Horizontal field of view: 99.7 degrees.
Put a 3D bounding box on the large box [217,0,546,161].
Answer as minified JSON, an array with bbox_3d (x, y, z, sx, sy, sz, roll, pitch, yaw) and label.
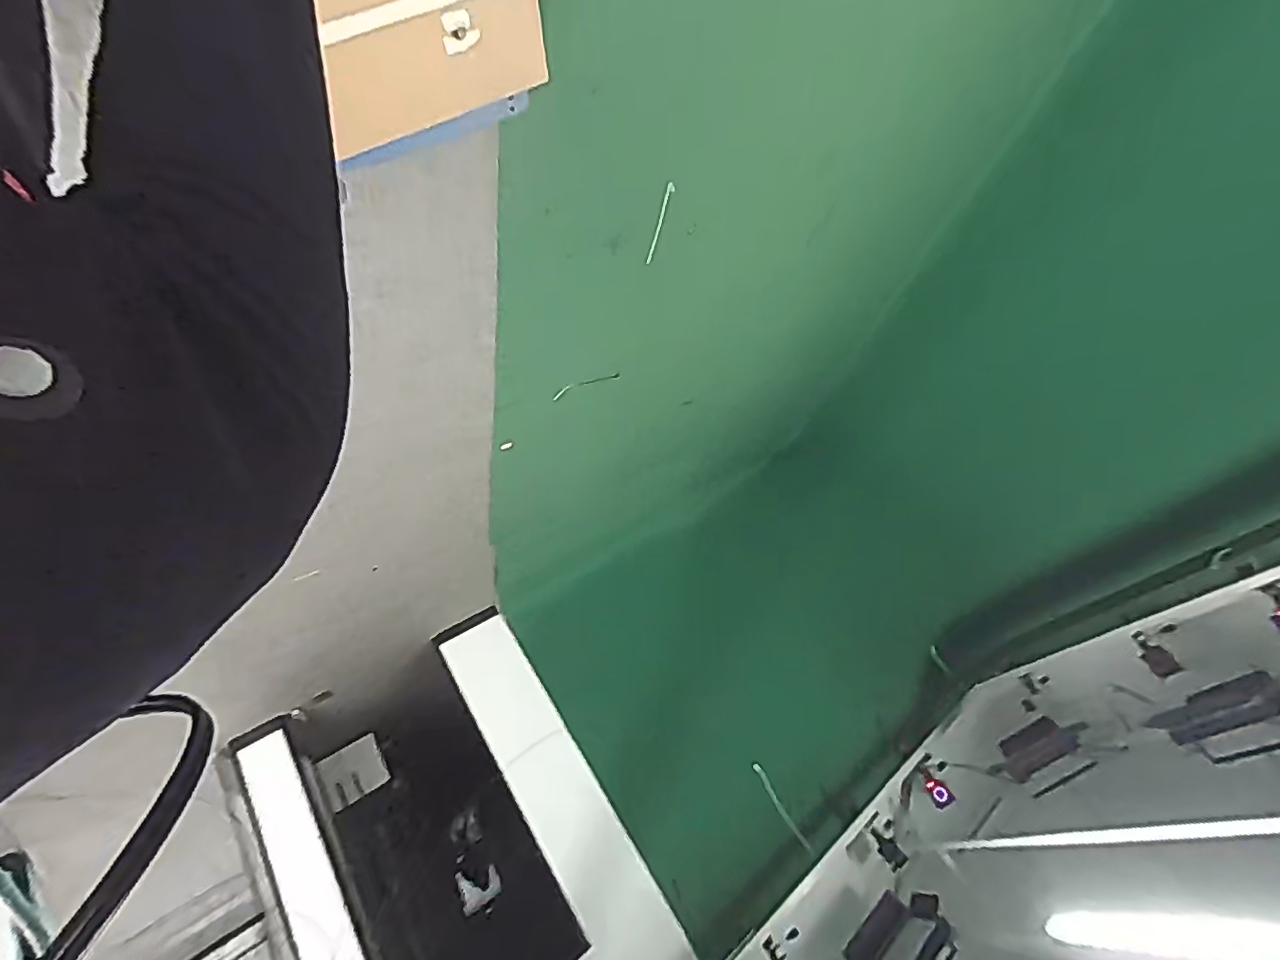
[{"bbox_3d":[-0.410,-0.762,0.786,0.408,0.320,0.320,-33,158,-13],"label":"large box"}]
